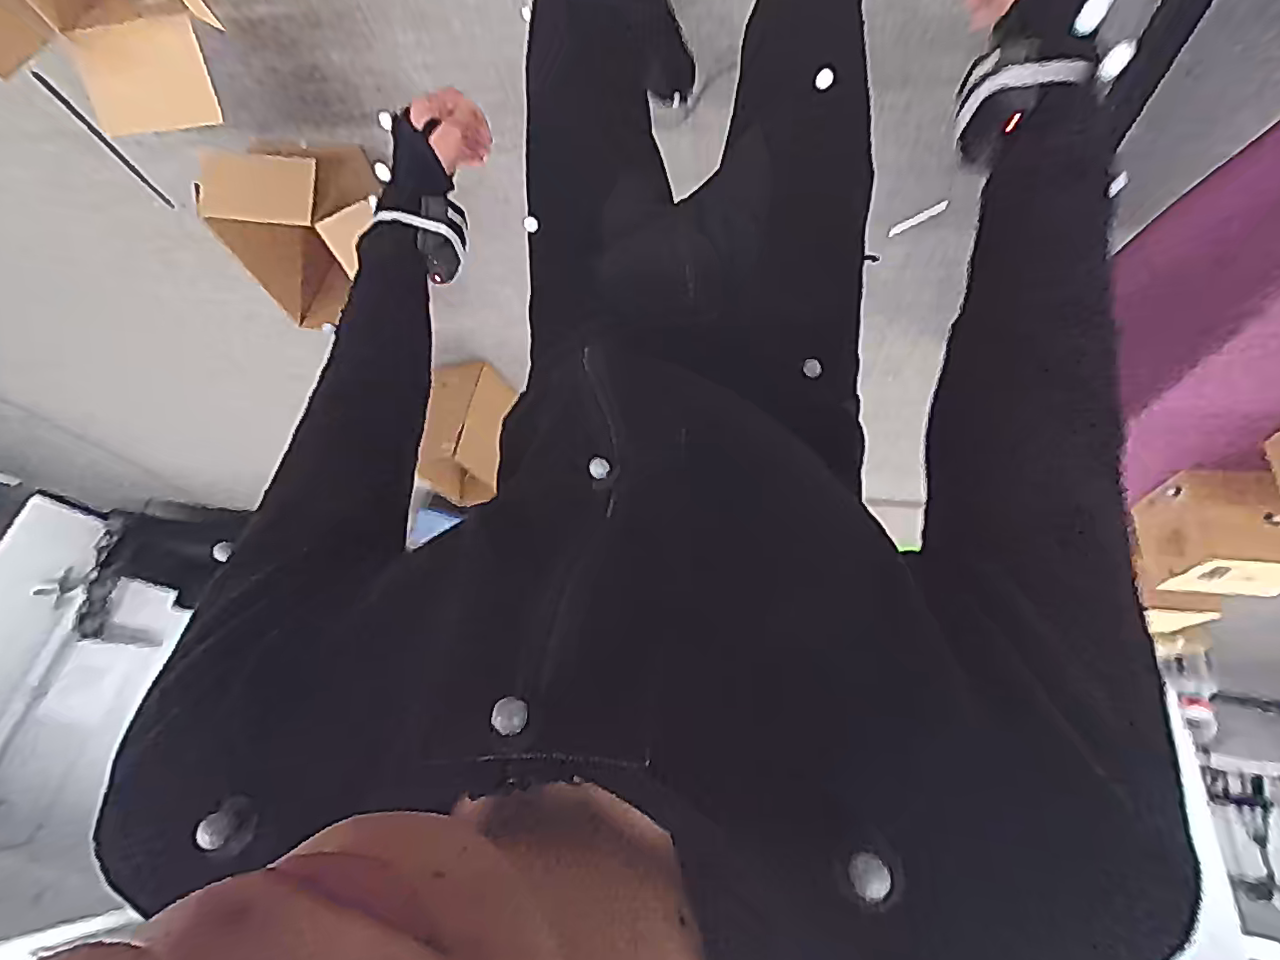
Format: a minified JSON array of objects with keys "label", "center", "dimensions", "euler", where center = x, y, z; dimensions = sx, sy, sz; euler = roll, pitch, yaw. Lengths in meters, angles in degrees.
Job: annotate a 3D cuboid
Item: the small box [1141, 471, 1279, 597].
[{"label":"small box","center":[1.032,0.093,0.940],"dimensions":[0.179,0.176,0.168],"euler":[1,154,15]}]
